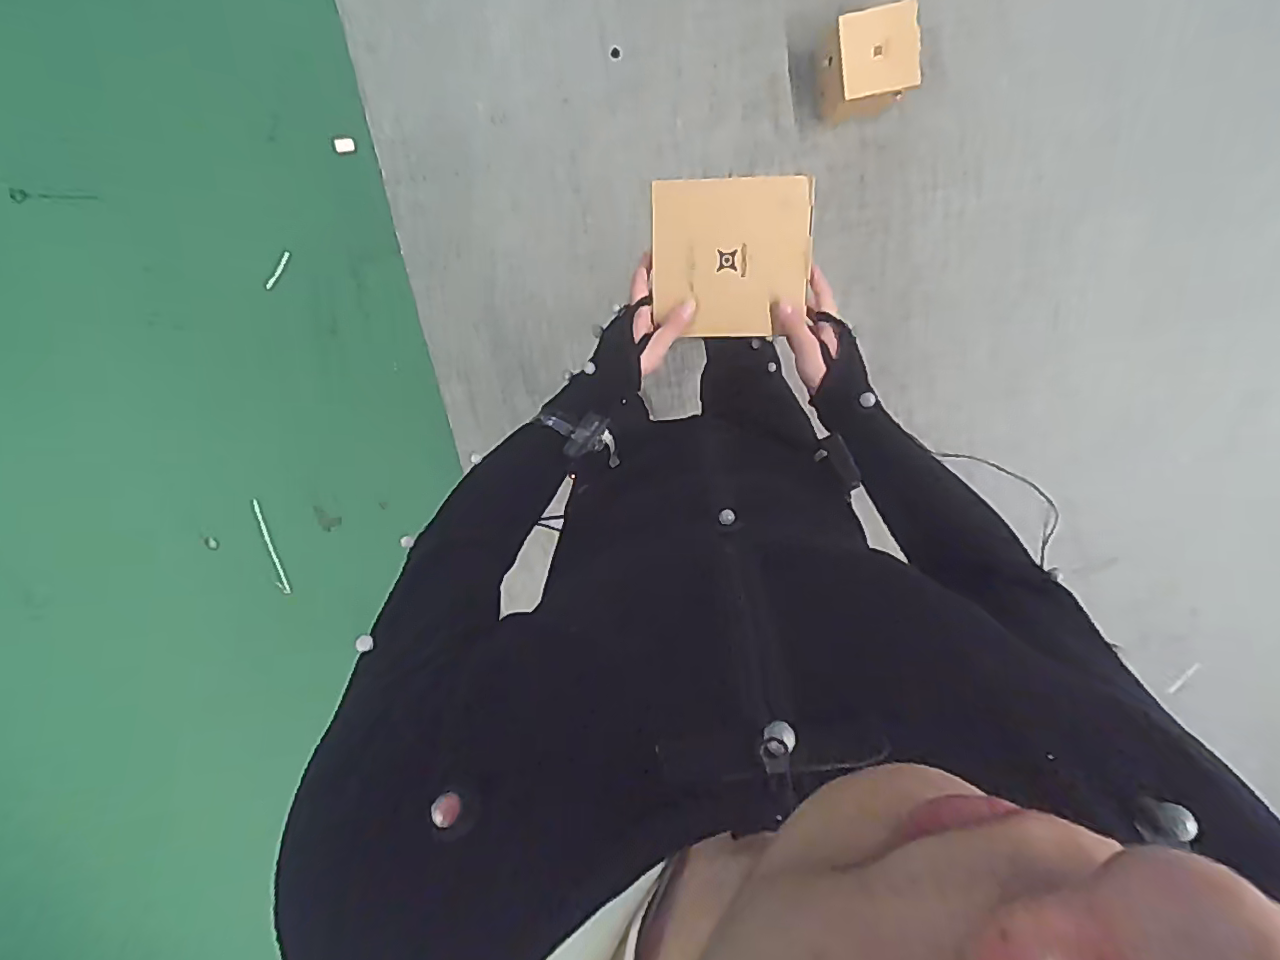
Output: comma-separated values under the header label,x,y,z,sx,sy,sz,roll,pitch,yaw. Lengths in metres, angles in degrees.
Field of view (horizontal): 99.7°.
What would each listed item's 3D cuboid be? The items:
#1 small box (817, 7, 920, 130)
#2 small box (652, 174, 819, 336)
label,x,y,z,sx,sy,sz,roll,pitch,yaw
small box,0.528,-0.955,1.273,0.179,0.176,0.168,-11,105,2
small box,0.105,-0.264,0.667,0.179,0.176,0.168,1,105,4
